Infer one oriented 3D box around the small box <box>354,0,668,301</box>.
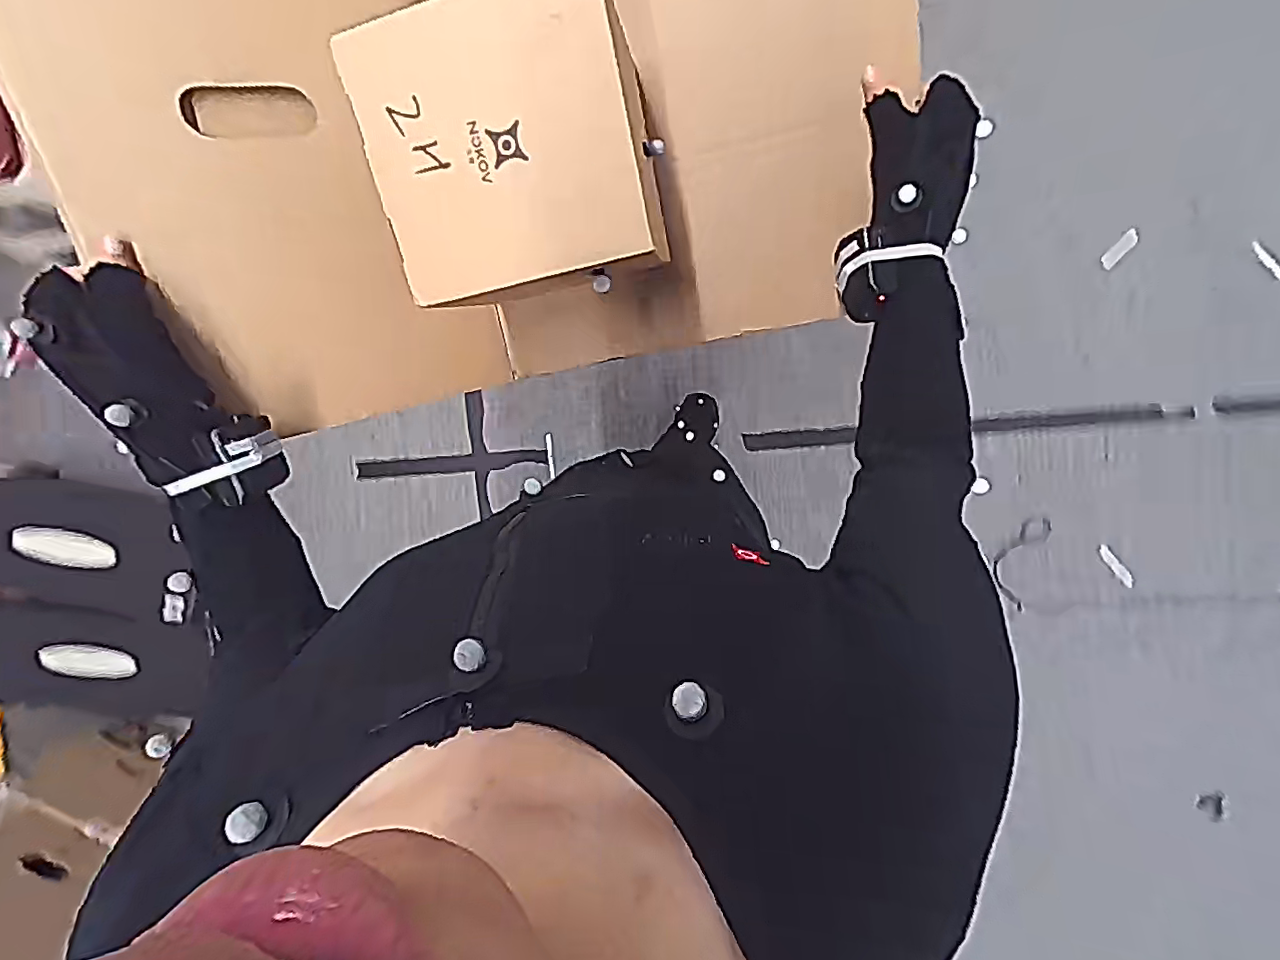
[{"bbox_3d":[-0.075,-0.244,0.429,0.179,0.176,0.168,-8,107,11],"label":"small box"}]
